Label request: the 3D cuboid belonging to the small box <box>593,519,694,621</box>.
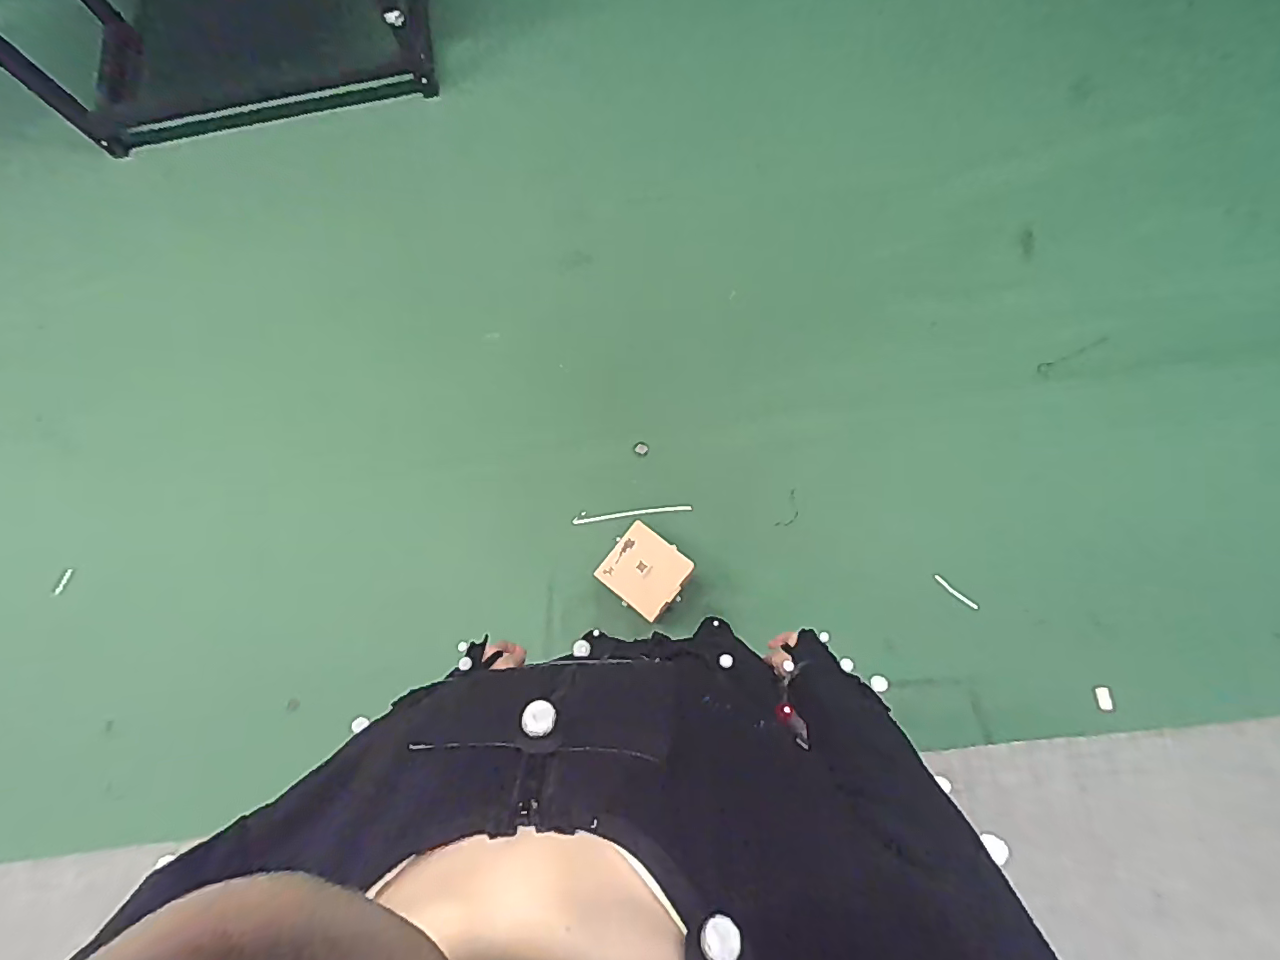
[{"bbox_3d":[0.013,0.219,1.308,0.179,0.176,0.168,38,81,12],"label":"small box"}]
